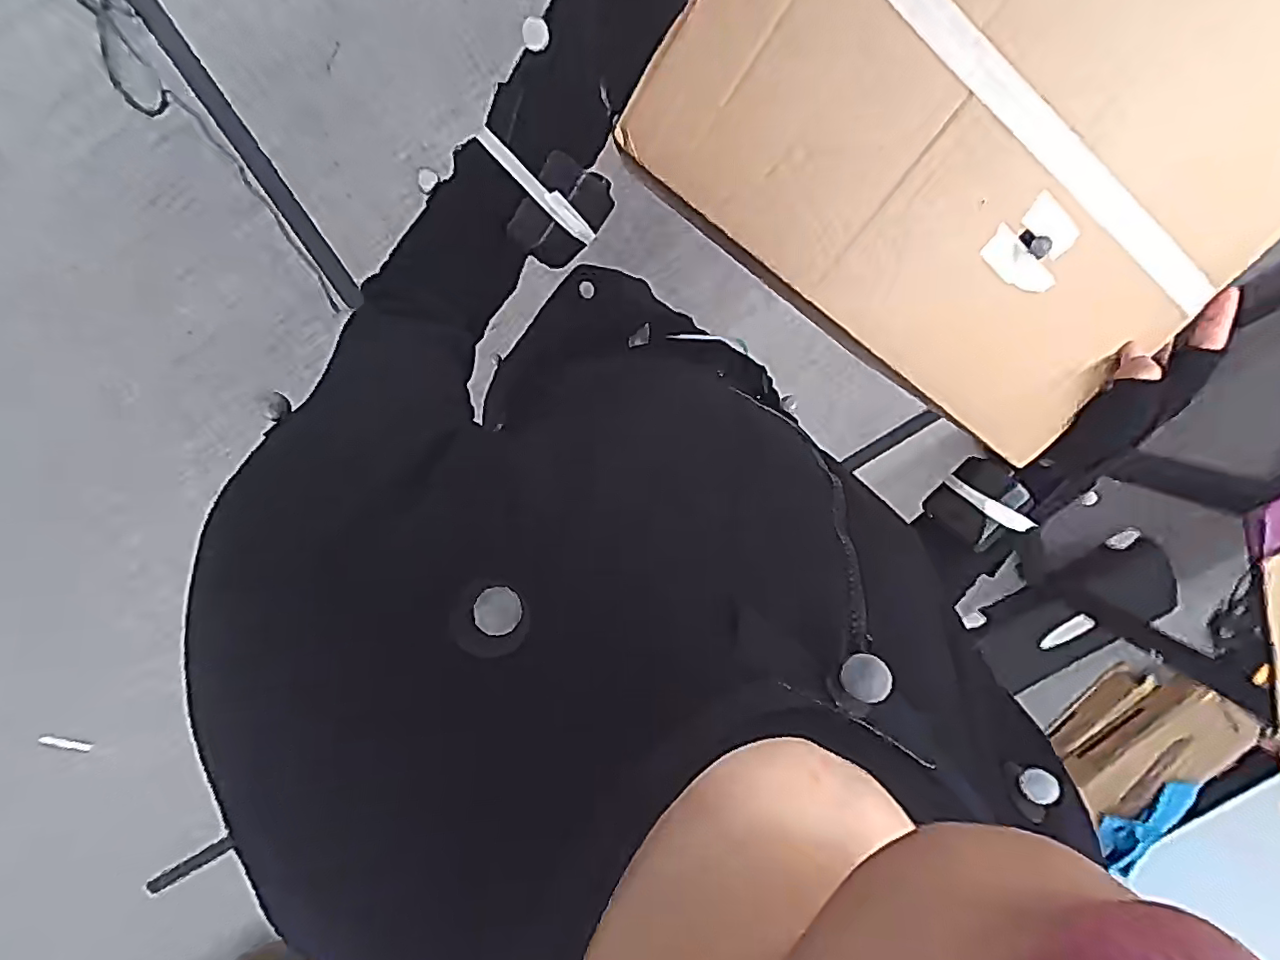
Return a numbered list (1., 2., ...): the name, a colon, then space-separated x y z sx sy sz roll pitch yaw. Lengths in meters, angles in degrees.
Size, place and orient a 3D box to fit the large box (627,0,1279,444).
1. large box: 0.233 -0.305 0.478 0.408 0.320 0.320 31 114 -16
